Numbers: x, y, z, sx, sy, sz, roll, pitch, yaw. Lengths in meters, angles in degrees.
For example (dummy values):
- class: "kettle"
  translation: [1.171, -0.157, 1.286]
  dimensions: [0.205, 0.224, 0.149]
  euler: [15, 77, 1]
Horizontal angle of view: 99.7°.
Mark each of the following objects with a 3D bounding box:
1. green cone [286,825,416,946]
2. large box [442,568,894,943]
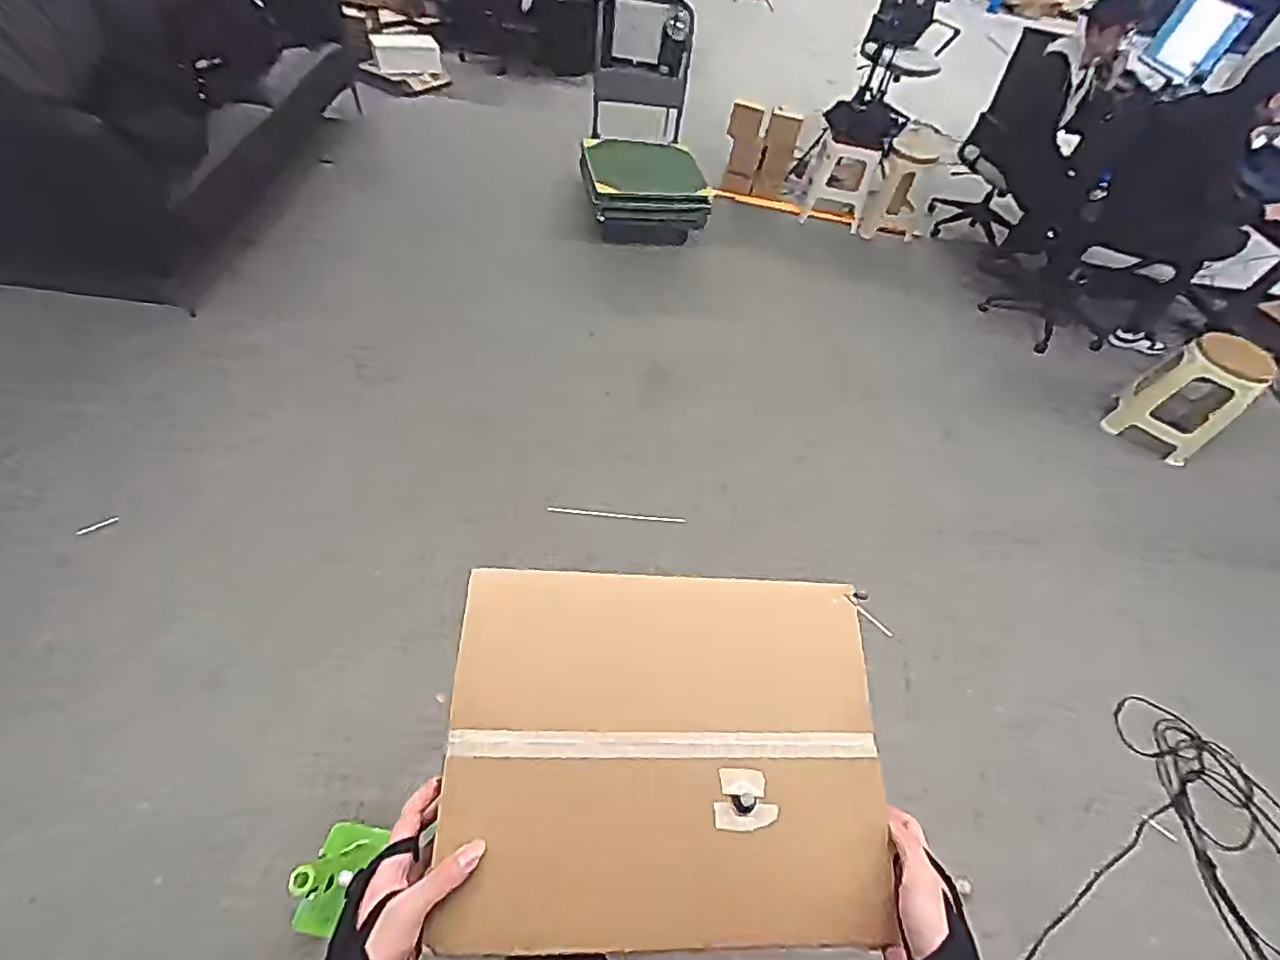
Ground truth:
- class: "green cone"
  translation: [-0.605, 0.798, 1.064]
  dimensions: [0.200, 0.368, 0.202]
  euler: [10, 54, -1]
- class: "large box"
  translation: [0.013, 0.297, 0.653]
  dimensions: [0.408, 0.320, 0.320]
  euler: [3, 69, -7]
